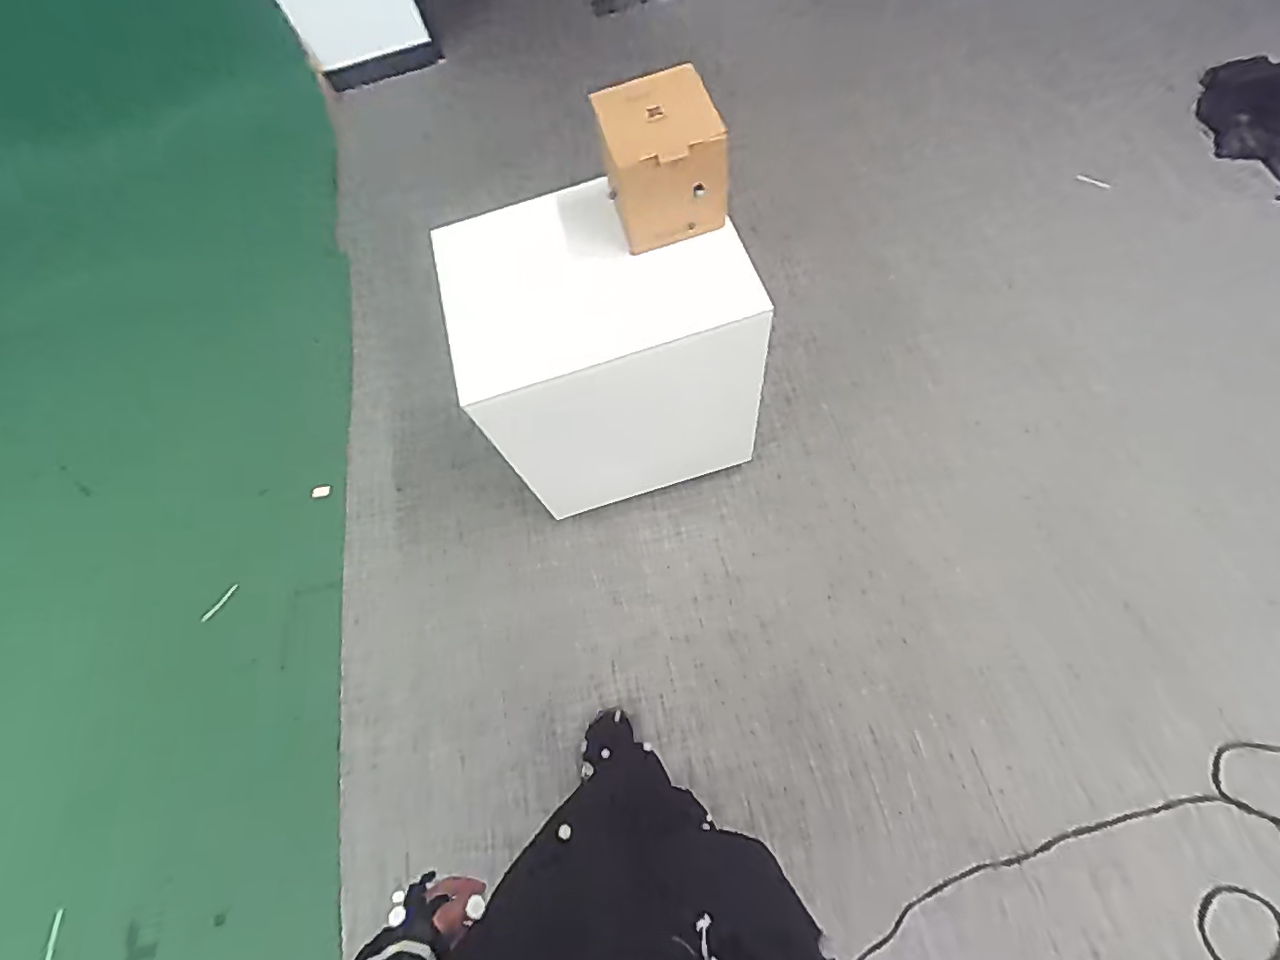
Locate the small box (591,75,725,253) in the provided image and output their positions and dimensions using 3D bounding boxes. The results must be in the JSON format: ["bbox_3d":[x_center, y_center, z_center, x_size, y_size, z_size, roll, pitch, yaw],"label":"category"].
[{"bbox_3d":[0.034,-0.494,0.870,0.168,0.176,0.179,-17,65,0],"label":"small box"}]
